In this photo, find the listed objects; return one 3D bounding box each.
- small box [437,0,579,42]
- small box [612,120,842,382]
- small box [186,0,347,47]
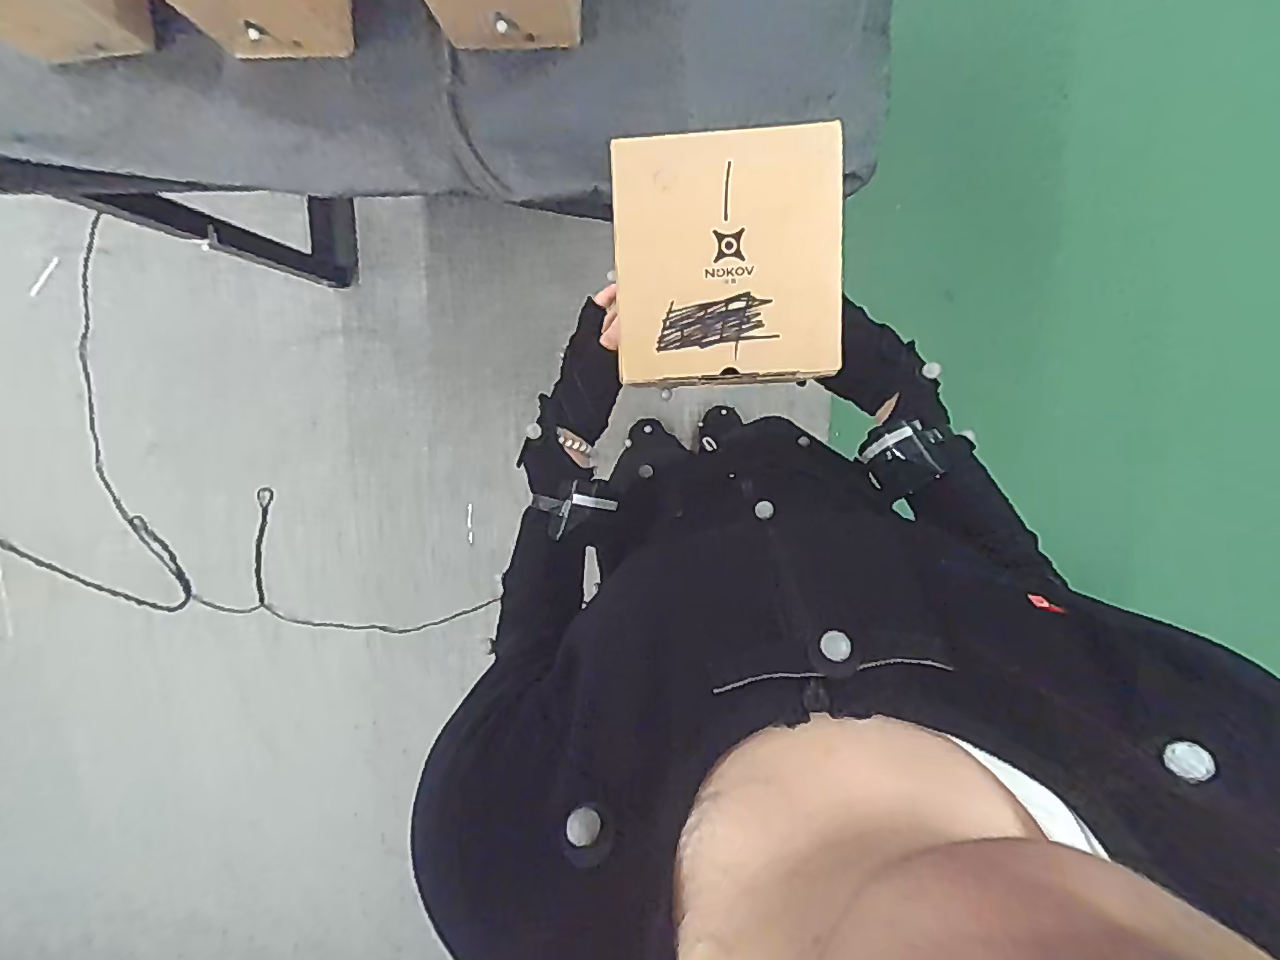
[{"bbox_3d":[-0.160,-0.631,0.591,0.168,0.176,0.179,3,99,4],"label":"small box"},{"bbox_3d":[0.068,-0.177,0.475,0.168,0.176,0.179,-2,98,3],"label":"small box"},{"bbox_3d":[-0.457,-0.639,0.610,0.168,0.176,0.179,2,99,3],"label":"small box"}]
